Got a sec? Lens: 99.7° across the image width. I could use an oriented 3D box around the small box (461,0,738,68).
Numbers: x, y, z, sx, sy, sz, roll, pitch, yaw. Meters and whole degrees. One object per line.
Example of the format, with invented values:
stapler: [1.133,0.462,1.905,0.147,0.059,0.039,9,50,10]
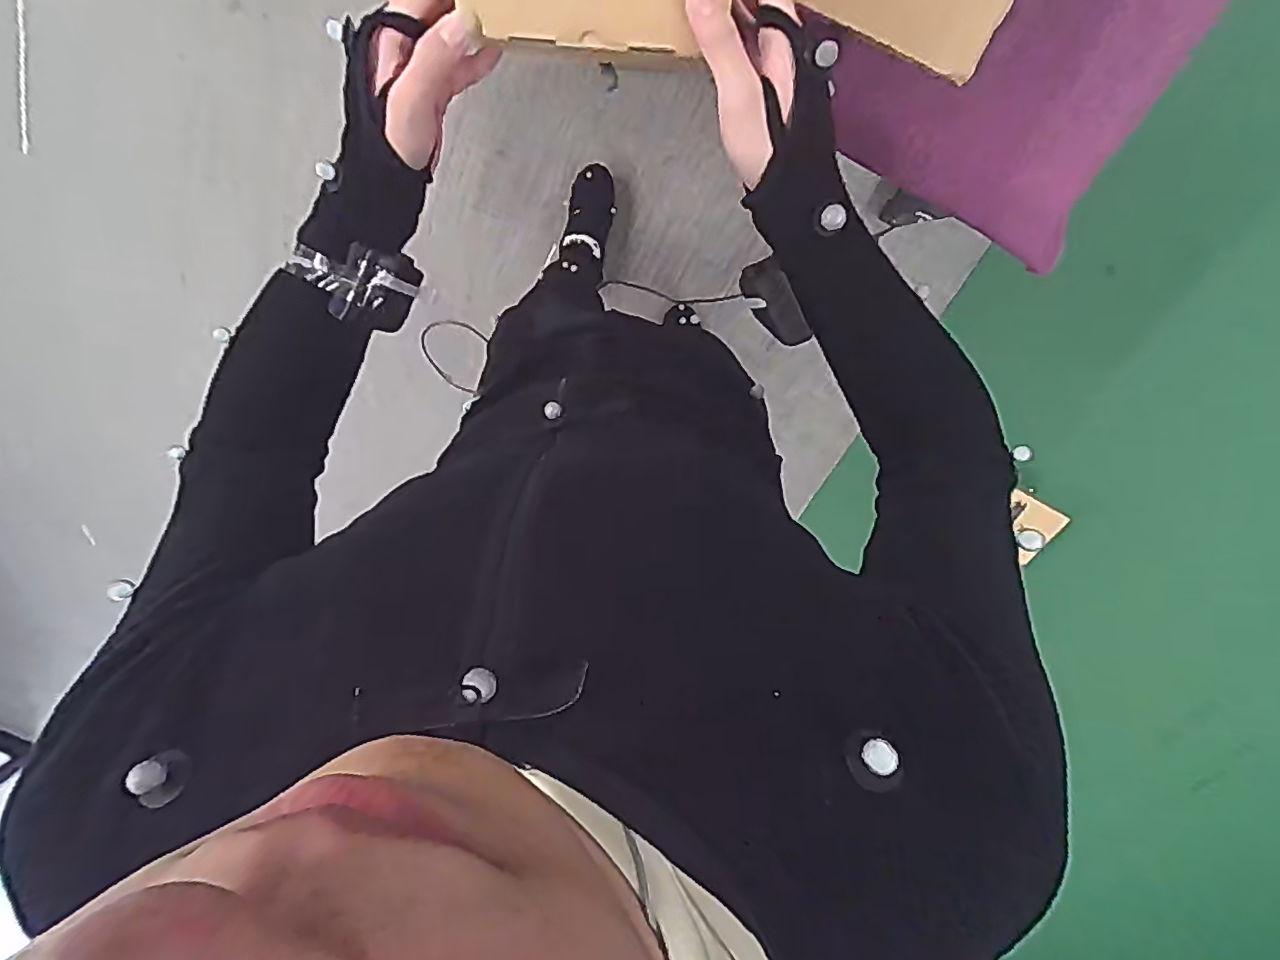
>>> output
small box: [-0.013,-0.383,0.341,0.168,0.176,0.179,7,124,0]
